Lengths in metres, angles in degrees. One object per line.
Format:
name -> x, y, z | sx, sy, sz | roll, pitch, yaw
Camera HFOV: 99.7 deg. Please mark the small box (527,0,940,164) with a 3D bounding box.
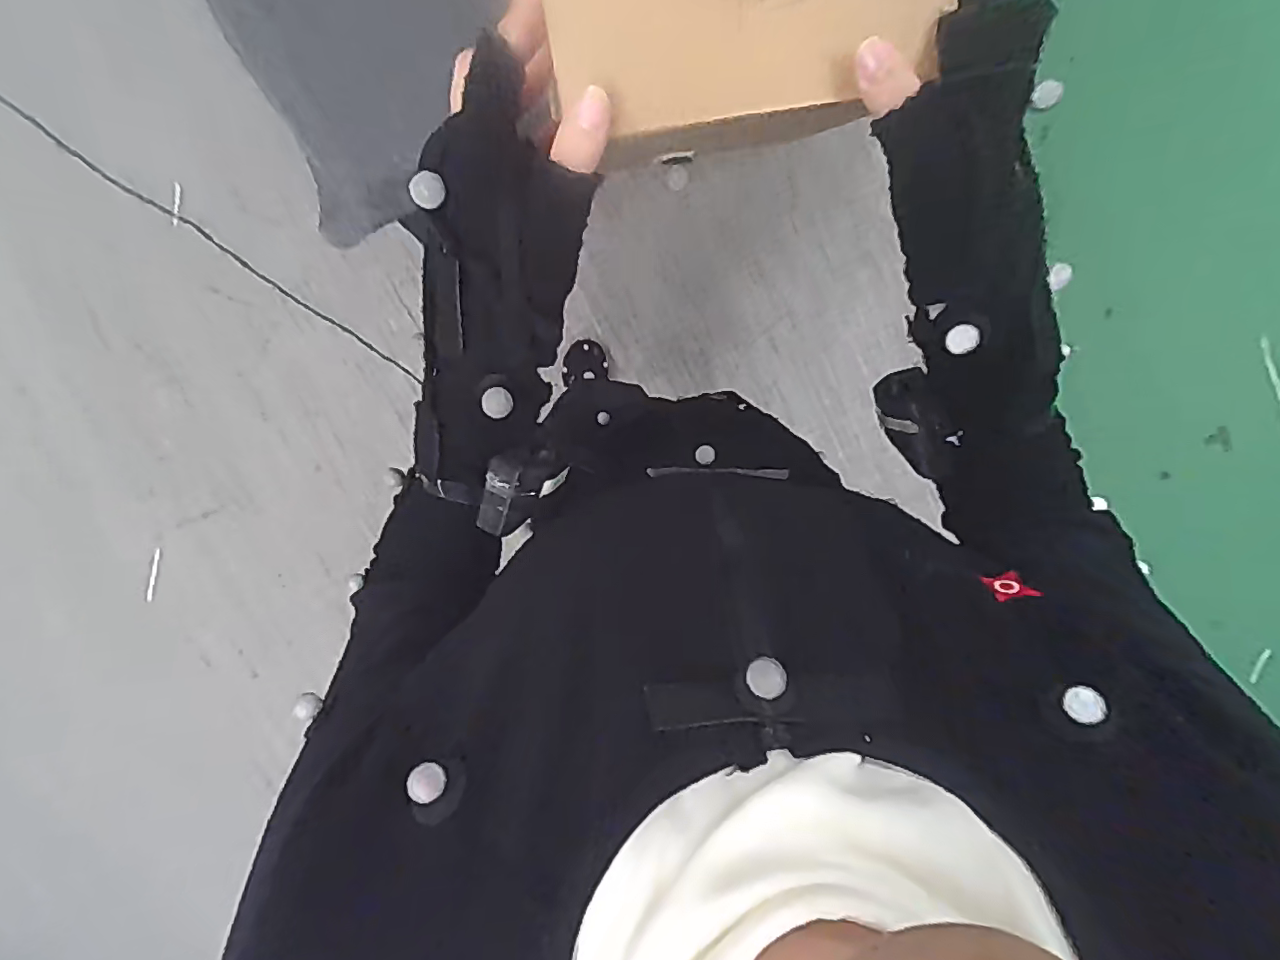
small box -> 0.024, -0.271, 0.262 | 0.168, 0.176, 0.179 | -10, 116, -3
